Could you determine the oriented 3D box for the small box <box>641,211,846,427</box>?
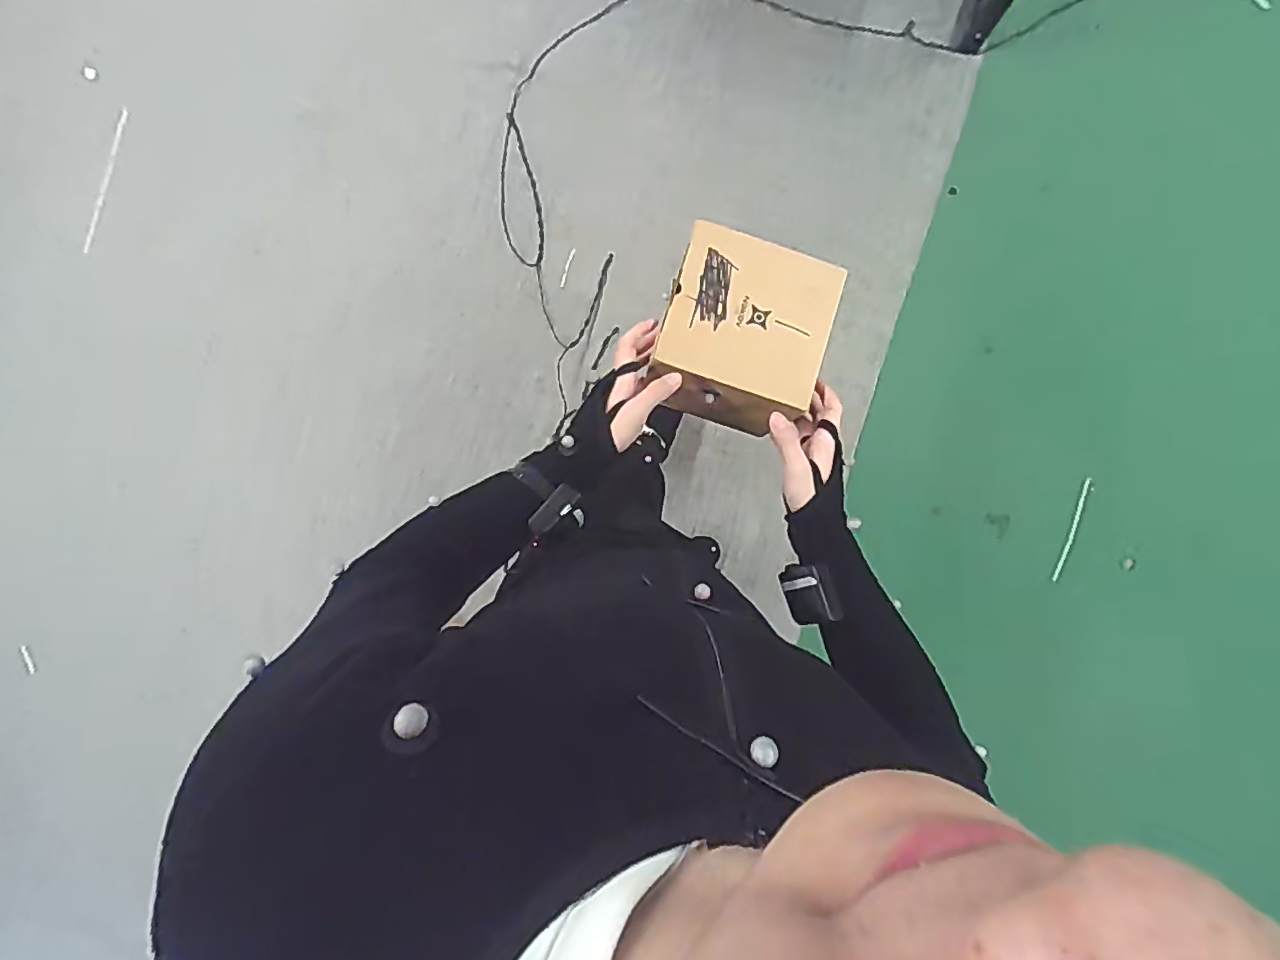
[{"bbox_3d":[0.107,-0.173,0.641,0.179,0.176,0.168,18,84,-3],"label":"small box"}]
